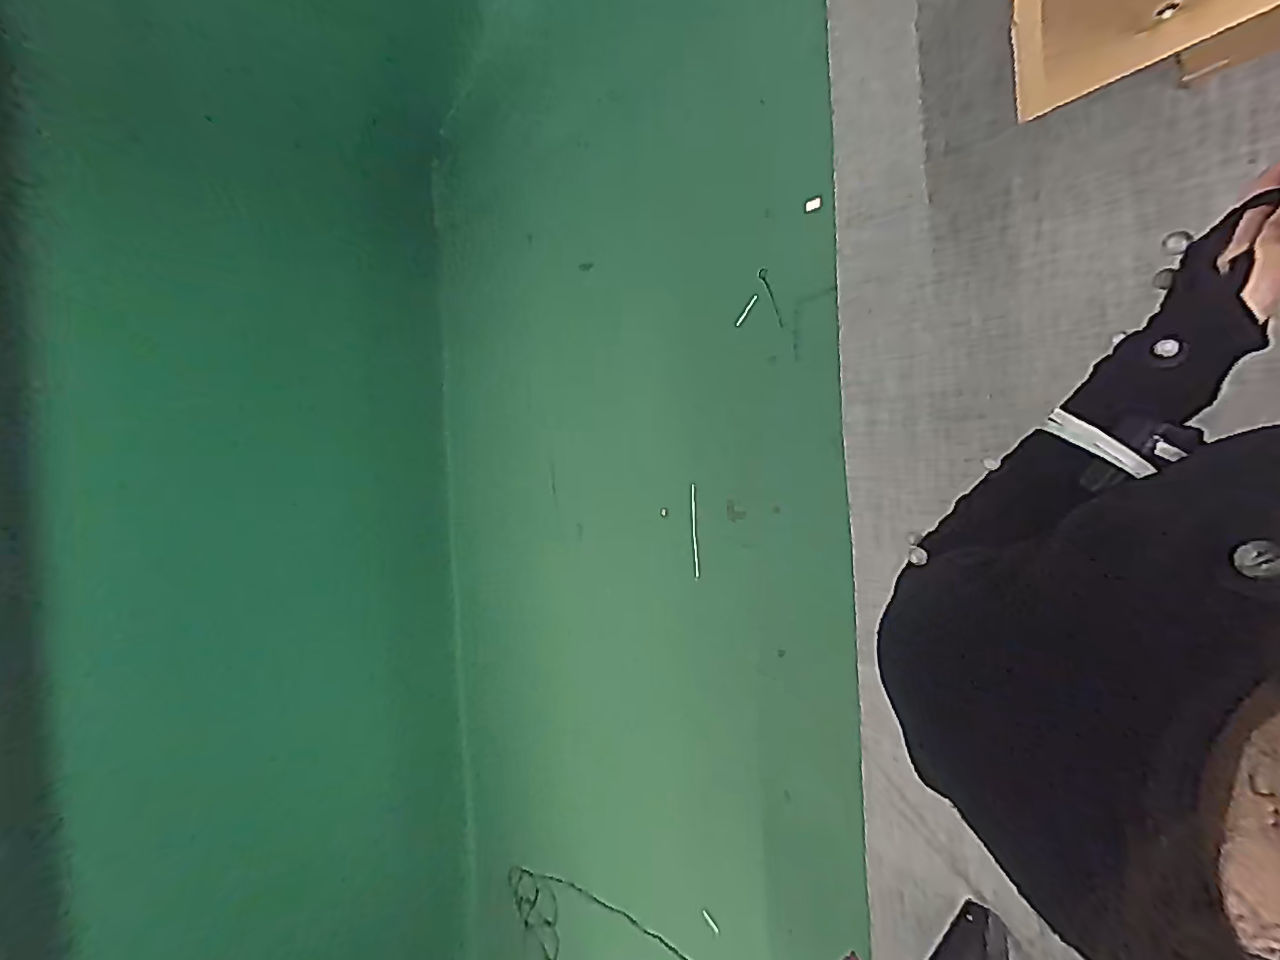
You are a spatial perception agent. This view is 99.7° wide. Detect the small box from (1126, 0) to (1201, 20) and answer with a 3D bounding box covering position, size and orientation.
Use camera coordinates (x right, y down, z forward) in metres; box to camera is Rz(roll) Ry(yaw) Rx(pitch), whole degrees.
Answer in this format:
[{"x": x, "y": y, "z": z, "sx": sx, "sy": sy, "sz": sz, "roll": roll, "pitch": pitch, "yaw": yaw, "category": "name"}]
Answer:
[{"x": 0.696, "y": -0.714, "z": 0.654, "sx": 0.168, "sy": 0.176, "sz": 0.179, "roll": -1, "pitch": 91, "yaw": 50, "category": "small box"}]
